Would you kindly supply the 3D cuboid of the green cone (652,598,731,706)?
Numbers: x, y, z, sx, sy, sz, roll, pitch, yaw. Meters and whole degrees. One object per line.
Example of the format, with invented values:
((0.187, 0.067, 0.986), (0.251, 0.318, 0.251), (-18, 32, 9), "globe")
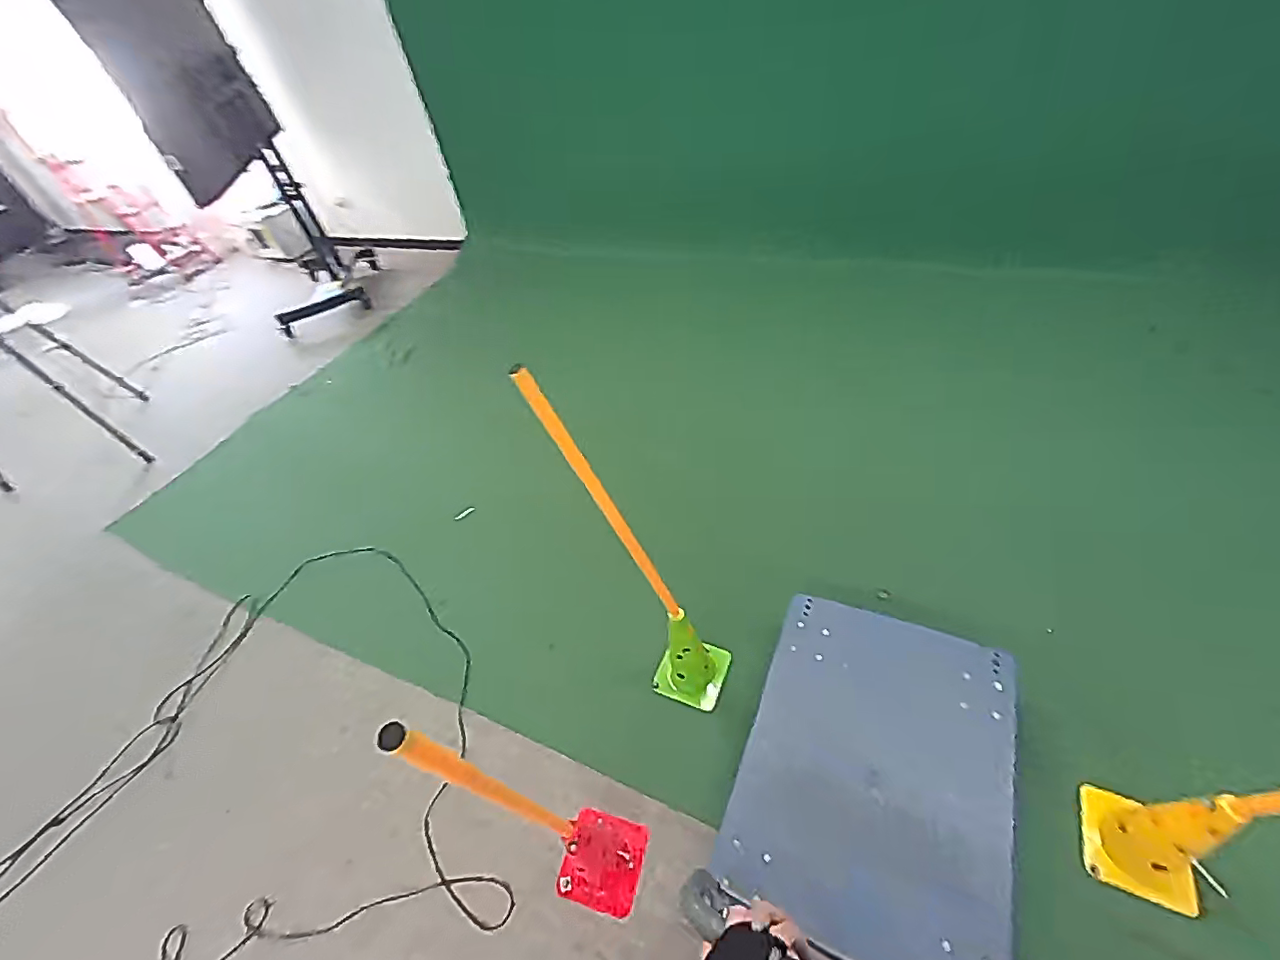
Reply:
((0.132, 0.457, 1.546), (0.200, 0.368, 0.202), (12, 50, 24), "green cone")
